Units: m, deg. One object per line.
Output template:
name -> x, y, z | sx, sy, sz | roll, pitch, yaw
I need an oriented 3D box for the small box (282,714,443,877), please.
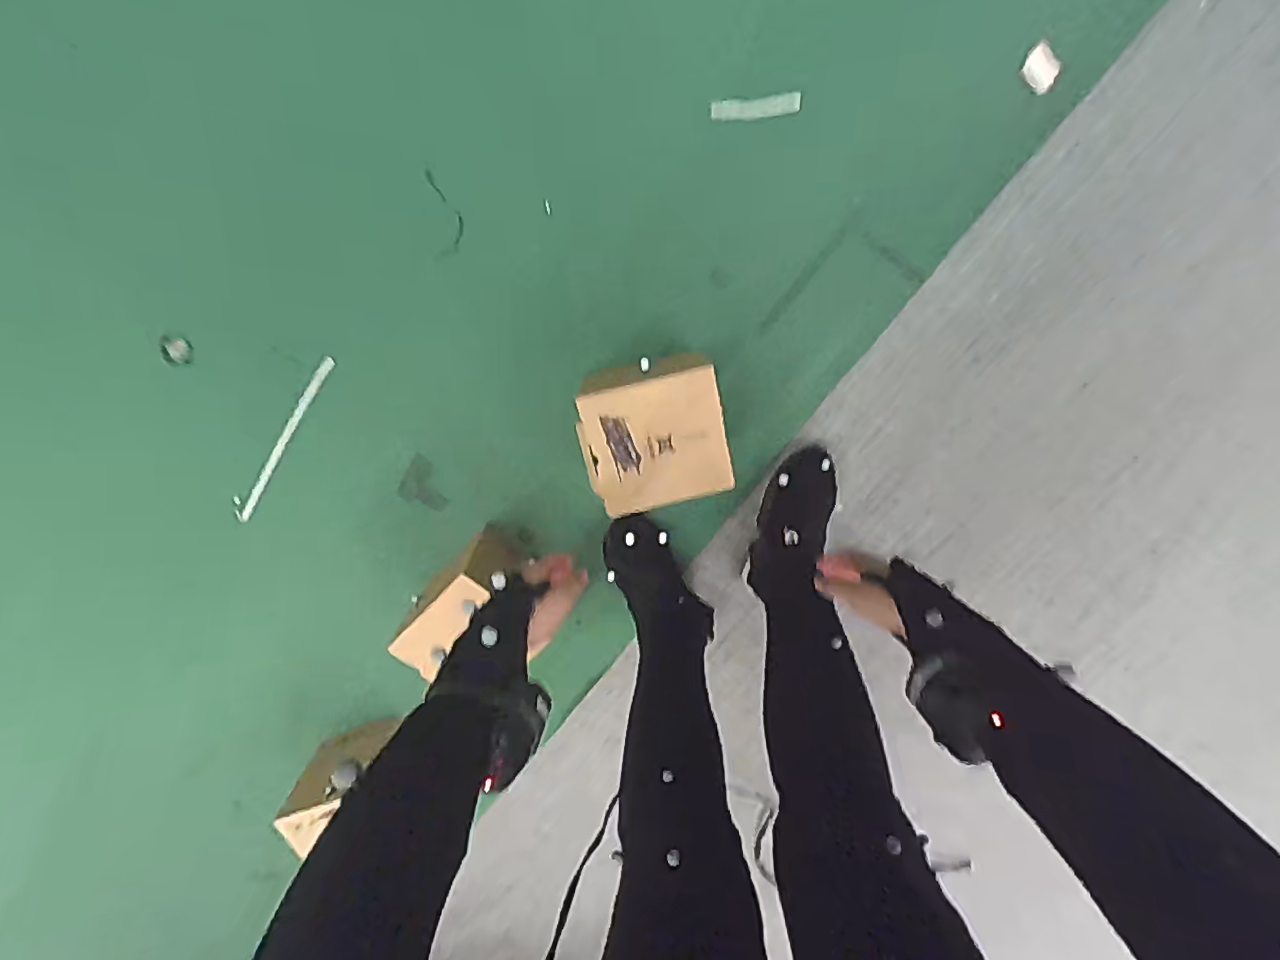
small box -> -0.487, 0.566, 0.983 | 0.168, 0.176, 0.179 | -20, 111, 5

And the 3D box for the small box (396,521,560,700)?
small box -> -0.240, 0.199, 0.856 | 0.168, 0.176, 0.179 | 42, 102, -18

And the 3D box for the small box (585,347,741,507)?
small box -> 0.029, -0.082, 0.763 | 0.179, 0.176, 0.168 | -14, 111, 1
